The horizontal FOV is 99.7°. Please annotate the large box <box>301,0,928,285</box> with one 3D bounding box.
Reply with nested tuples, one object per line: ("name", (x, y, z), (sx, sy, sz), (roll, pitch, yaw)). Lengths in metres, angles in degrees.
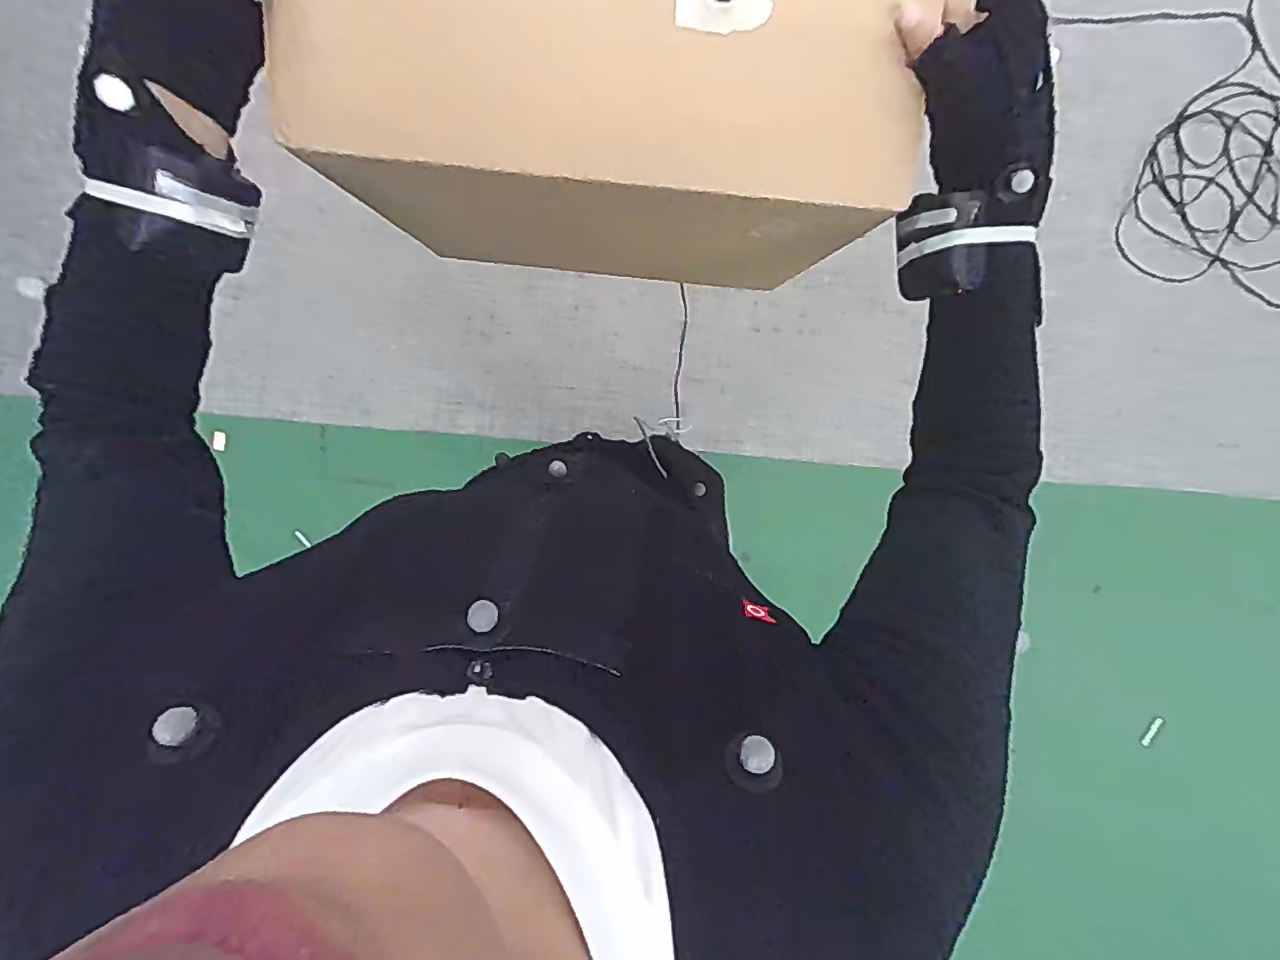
("large box", (-0.015, -0.373, 0.482), (0.408, 0.320, 0.320), (4, 100, -3))
